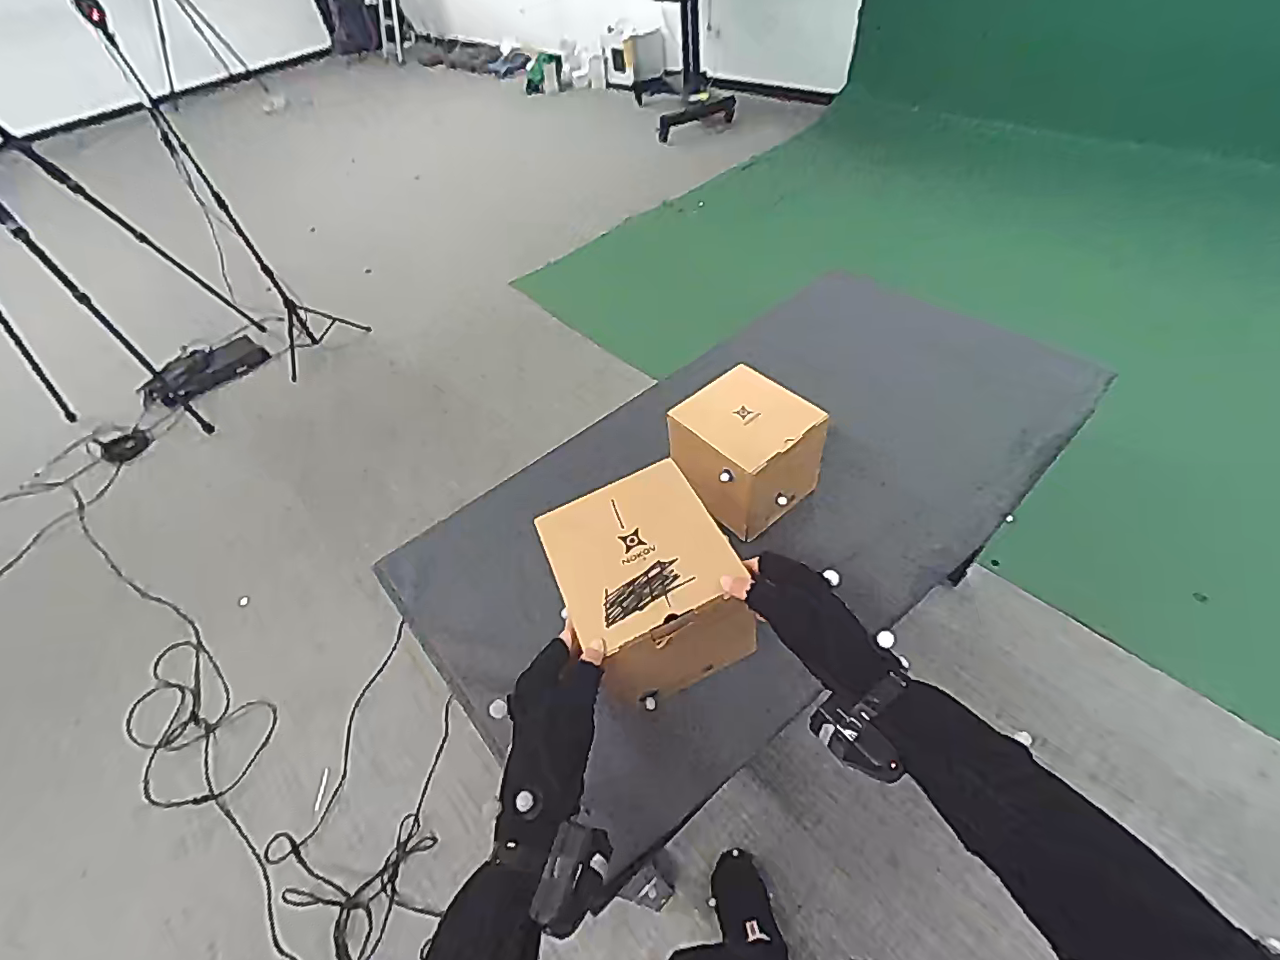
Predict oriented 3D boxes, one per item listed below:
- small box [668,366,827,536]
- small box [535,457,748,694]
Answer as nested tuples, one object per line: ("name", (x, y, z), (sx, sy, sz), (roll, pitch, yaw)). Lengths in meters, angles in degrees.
("small box", (0.164, -0.044, 0.859), (0.168, 0.176, 0.179), (-35, 54, -20))
("small box", (0.008, 0.113, 0.597), (0.168, 0.176, 0.179), (-25, 50, -7))
